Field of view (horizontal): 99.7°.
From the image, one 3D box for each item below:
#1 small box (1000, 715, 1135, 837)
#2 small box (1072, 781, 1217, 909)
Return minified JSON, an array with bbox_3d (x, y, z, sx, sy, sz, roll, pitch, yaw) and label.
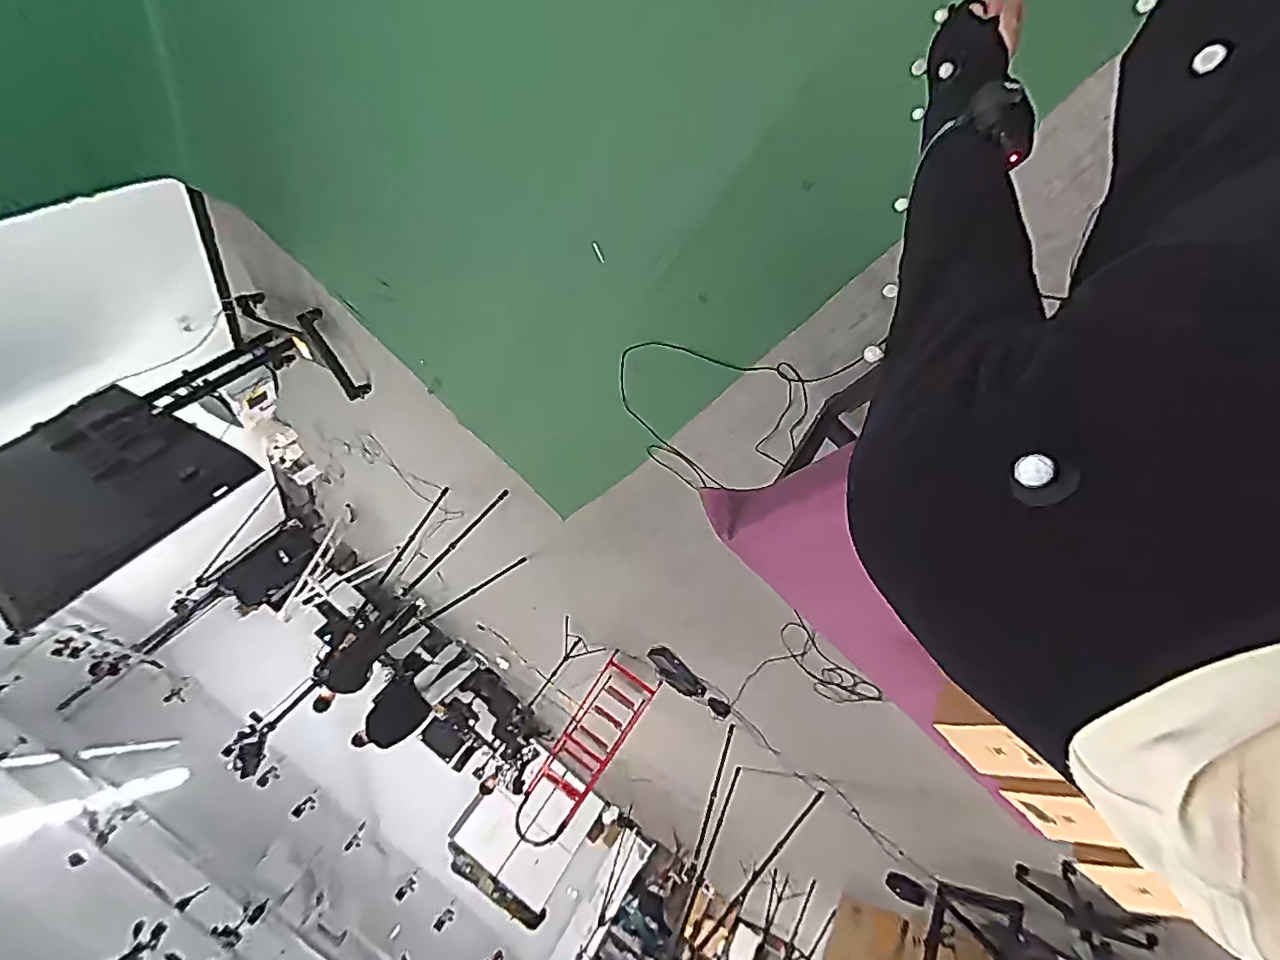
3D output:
[{"bbox_3d":[0.943,0.640,1.191,0.168,0.176,0.179,43,145,-4],"label":"small box"},{"bbox_3d":[1.113,0.791,1.198,0.168,0.176,0.179,40,146,0],"label":"small box"}]
